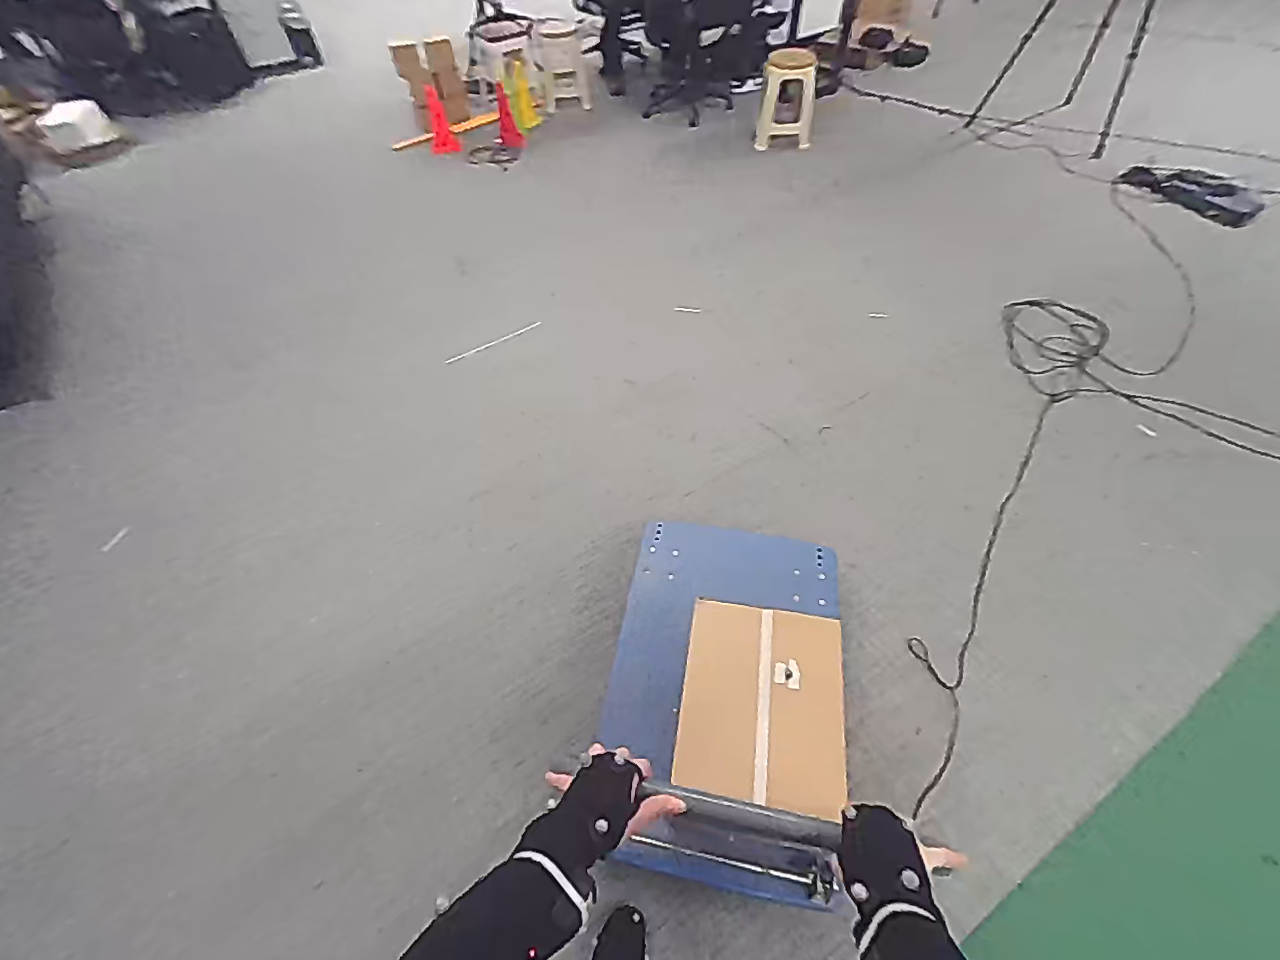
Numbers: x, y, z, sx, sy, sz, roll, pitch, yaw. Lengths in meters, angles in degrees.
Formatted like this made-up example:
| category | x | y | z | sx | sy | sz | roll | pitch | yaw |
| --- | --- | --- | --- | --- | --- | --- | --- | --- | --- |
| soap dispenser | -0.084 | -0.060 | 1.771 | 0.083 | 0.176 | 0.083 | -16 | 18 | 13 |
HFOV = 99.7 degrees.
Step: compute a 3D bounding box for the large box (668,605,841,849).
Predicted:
| category | x | y | z | sx | sy | sz | roll | pitch | yaw |
| --- | --- | --- | --- | --- | --- | --- | --- | --- | --- |
| large box | 0.238 | 0.545 | 1.196 | 0.320 | 0.320 | 0.408 | 8 | 53 | 7 |
